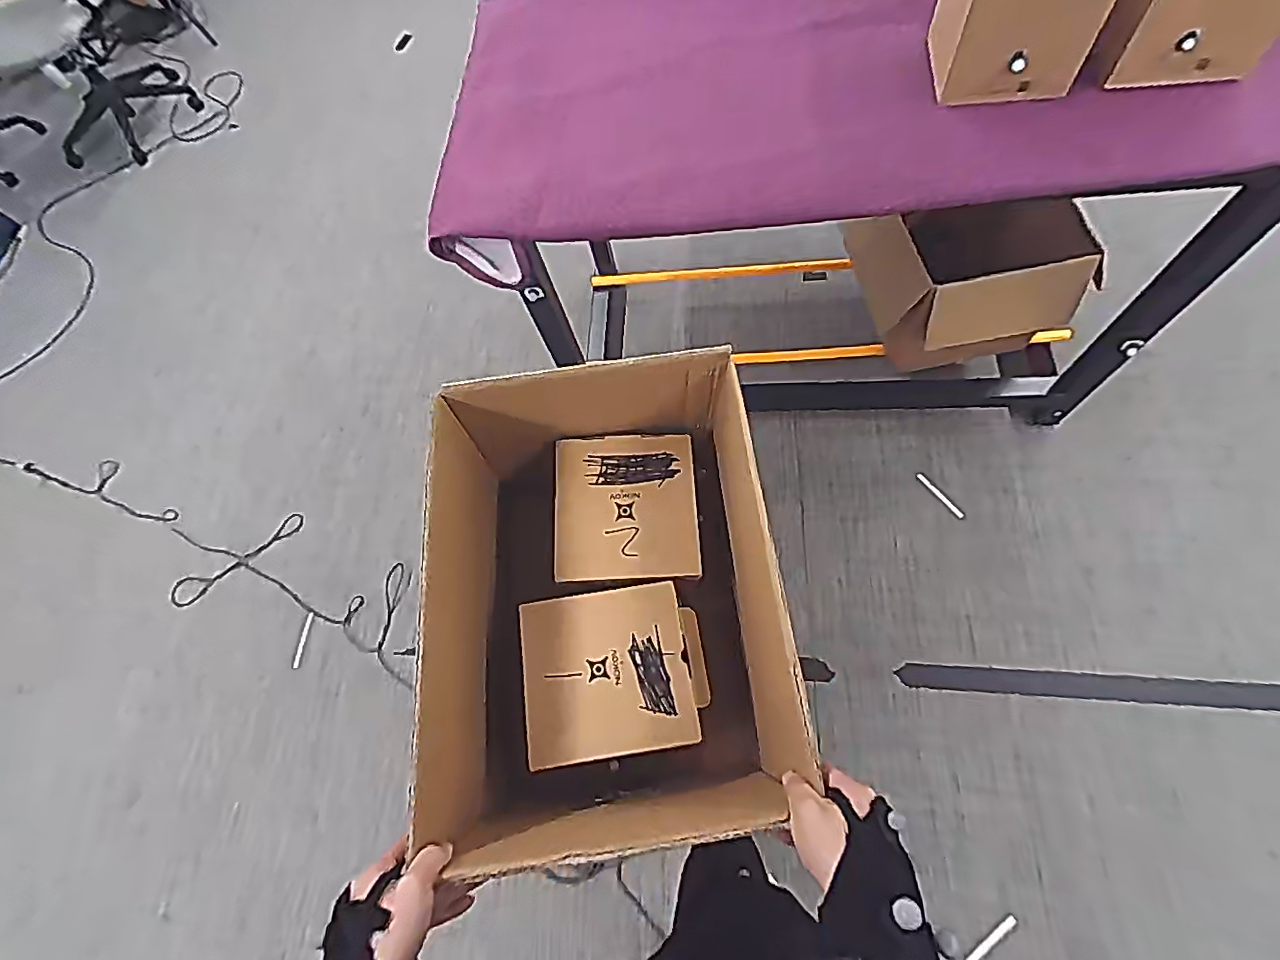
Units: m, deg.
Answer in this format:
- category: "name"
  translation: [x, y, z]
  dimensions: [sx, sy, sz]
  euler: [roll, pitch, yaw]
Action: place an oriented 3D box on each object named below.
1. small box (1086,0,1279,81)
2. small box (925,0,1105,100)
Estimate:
- category: "small box"
  translation: [0.711, -0.659, 0.697]
  dimensions: [0.168, 0.176, 0.179]
  euler: [2, 66, 11]
- category: "small box"
  translation: [0.503, -0.656, 0.732]
  dimensions: [0.168, 0.176, 0.179]
  euler: [2, 67, 11]
